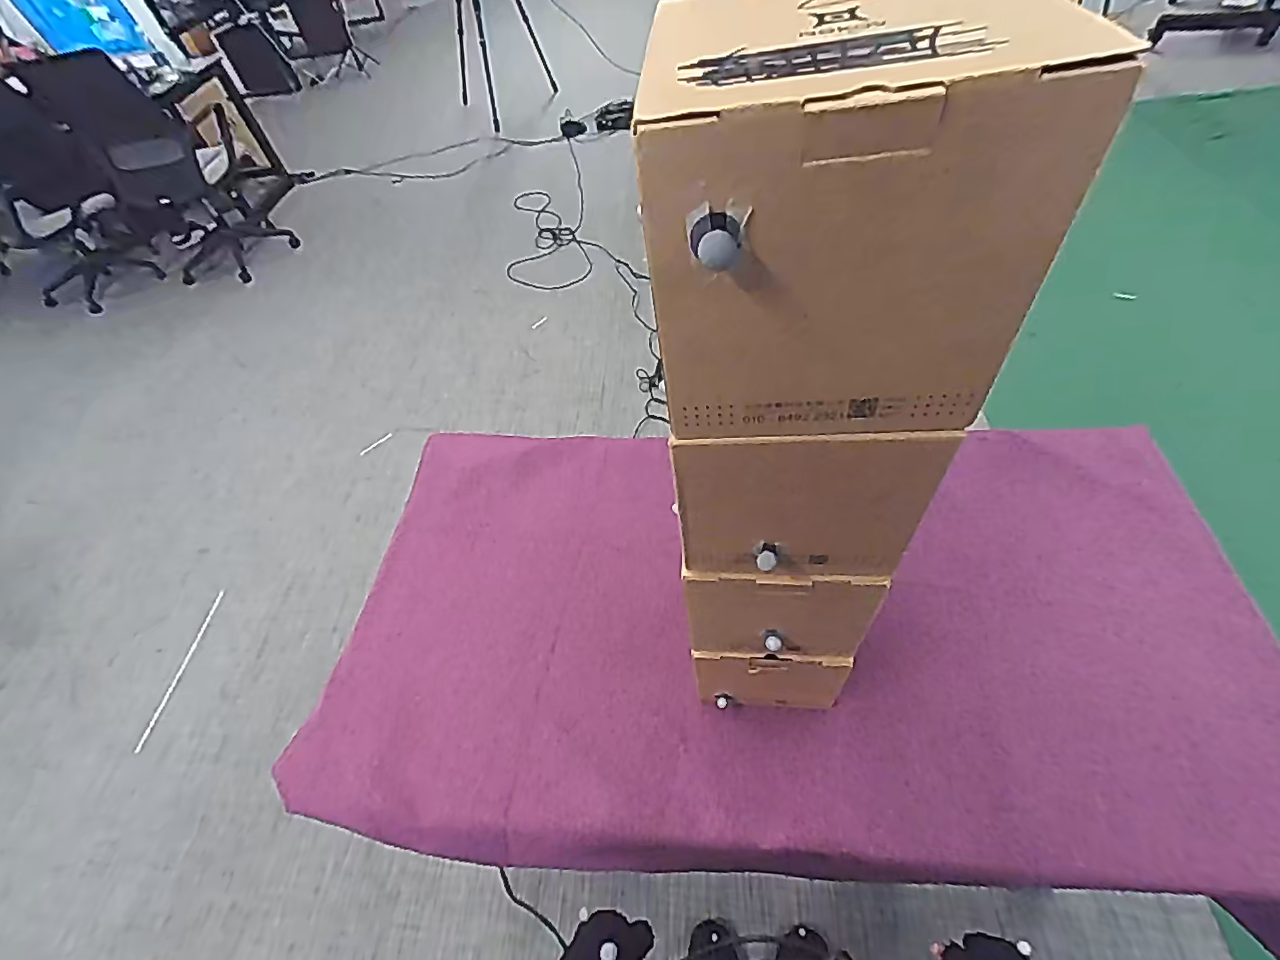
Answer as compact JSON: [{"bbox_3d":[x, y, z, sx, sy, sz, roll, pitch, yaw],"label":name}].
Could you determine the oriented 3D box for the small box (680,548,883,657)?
[{"bbox_3d":[0.132,0.063,0.555,0.168,0.176,0.179,0,53,9],"label":"small box"}]

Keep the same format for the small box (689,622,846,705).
[{"bbox_3d":[0.153,0.169,0.679,0.168,0.176,0.179,1,52,9],"label":"small box"}]

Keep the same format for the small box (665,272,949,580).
[{"bbox_3d":[0.113,-0.040,0.430,0.168,0.176,0.179,0,53,9],"label":"small box"}]
